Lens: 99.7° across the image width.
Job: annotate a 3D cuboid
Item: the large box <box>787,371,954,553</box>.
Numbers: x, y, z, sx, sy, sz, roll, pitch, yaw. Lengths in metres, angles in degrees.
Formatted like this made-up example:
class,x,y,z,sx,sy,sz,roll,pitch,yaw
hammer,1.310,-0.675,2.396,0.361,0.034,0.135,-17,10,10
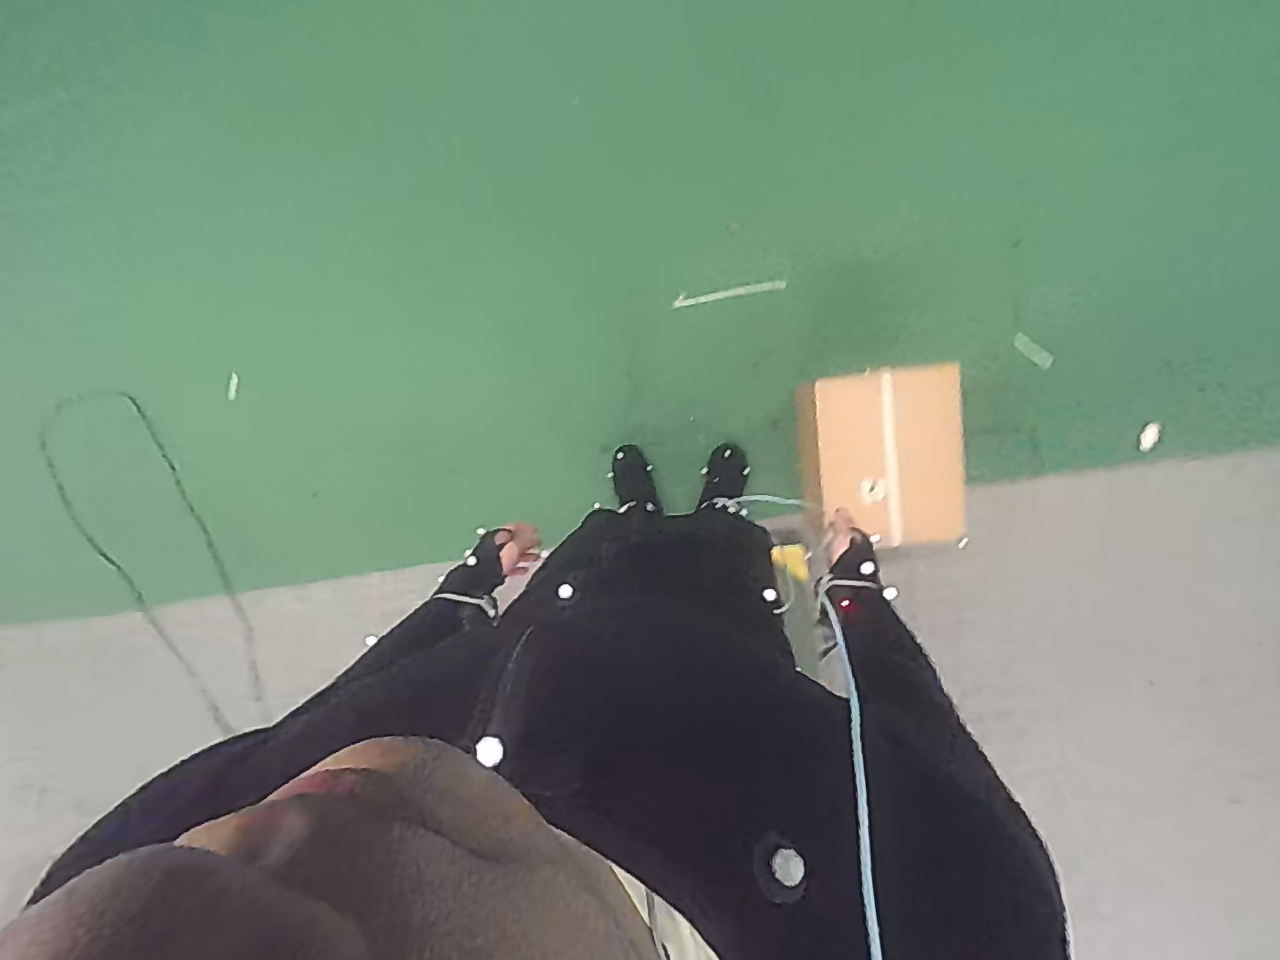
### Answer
class,x,y,z,sx,sy,sz,roll,pitch,yaw
large box,0.577,-0.056,1.404,0.320,0.320,0.408,-5,97,8
